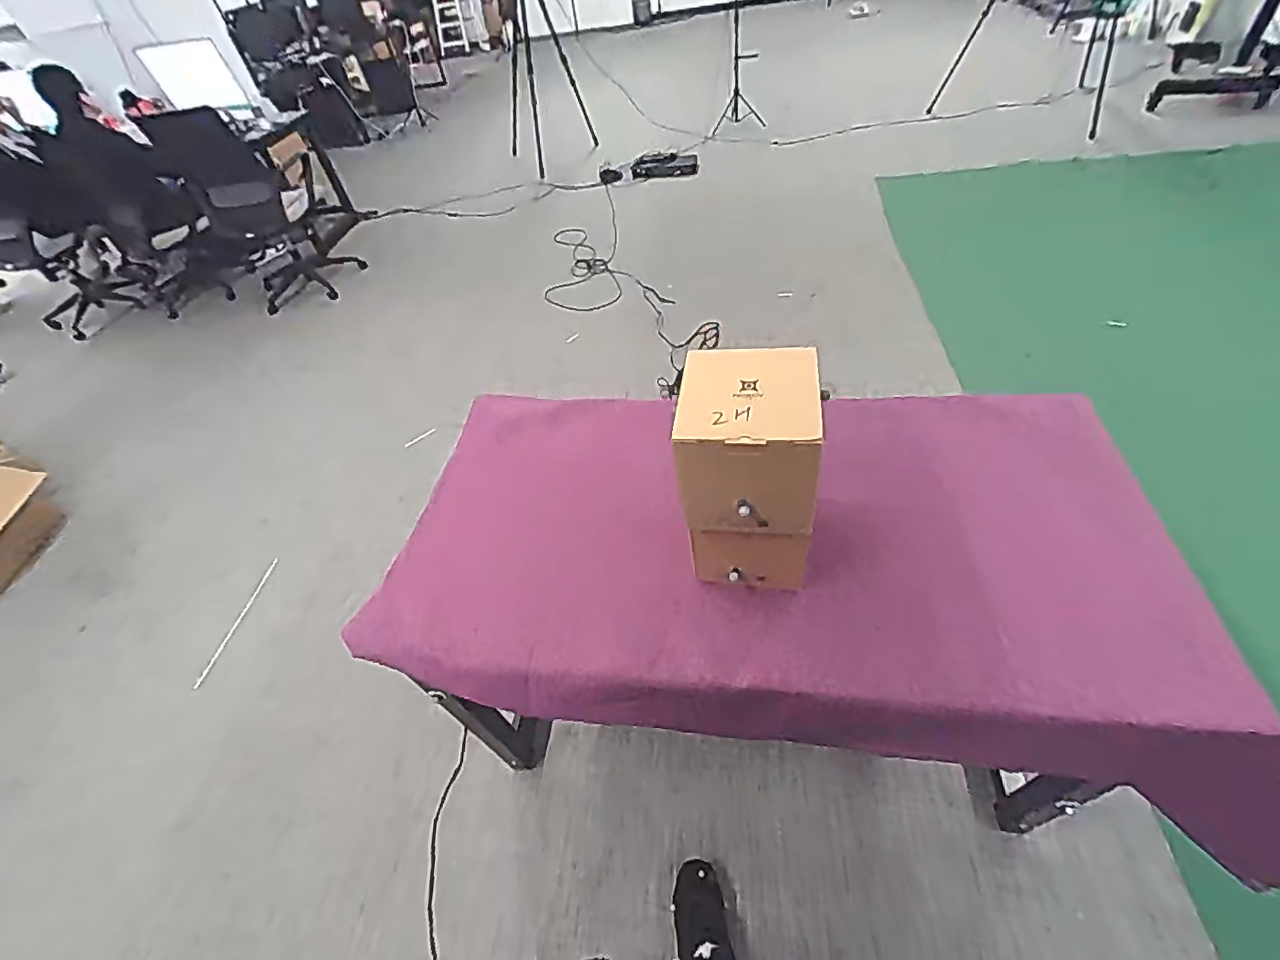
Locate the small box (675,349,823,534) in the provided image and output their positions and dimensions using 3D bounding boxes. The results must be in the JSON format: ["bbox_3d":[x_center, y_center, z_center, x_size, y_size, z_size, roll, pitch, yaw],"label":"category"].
[{"bbox_3d":[0.145,-0.052,0.709,0.168,0.176,0.179,1,48,14],"label":"small box"}]

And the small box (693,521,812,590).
[{"bbox_3d":[0.174,0.046,0.838,0.168,0.176,0.179,3,49,14],"label":"small box"}]
